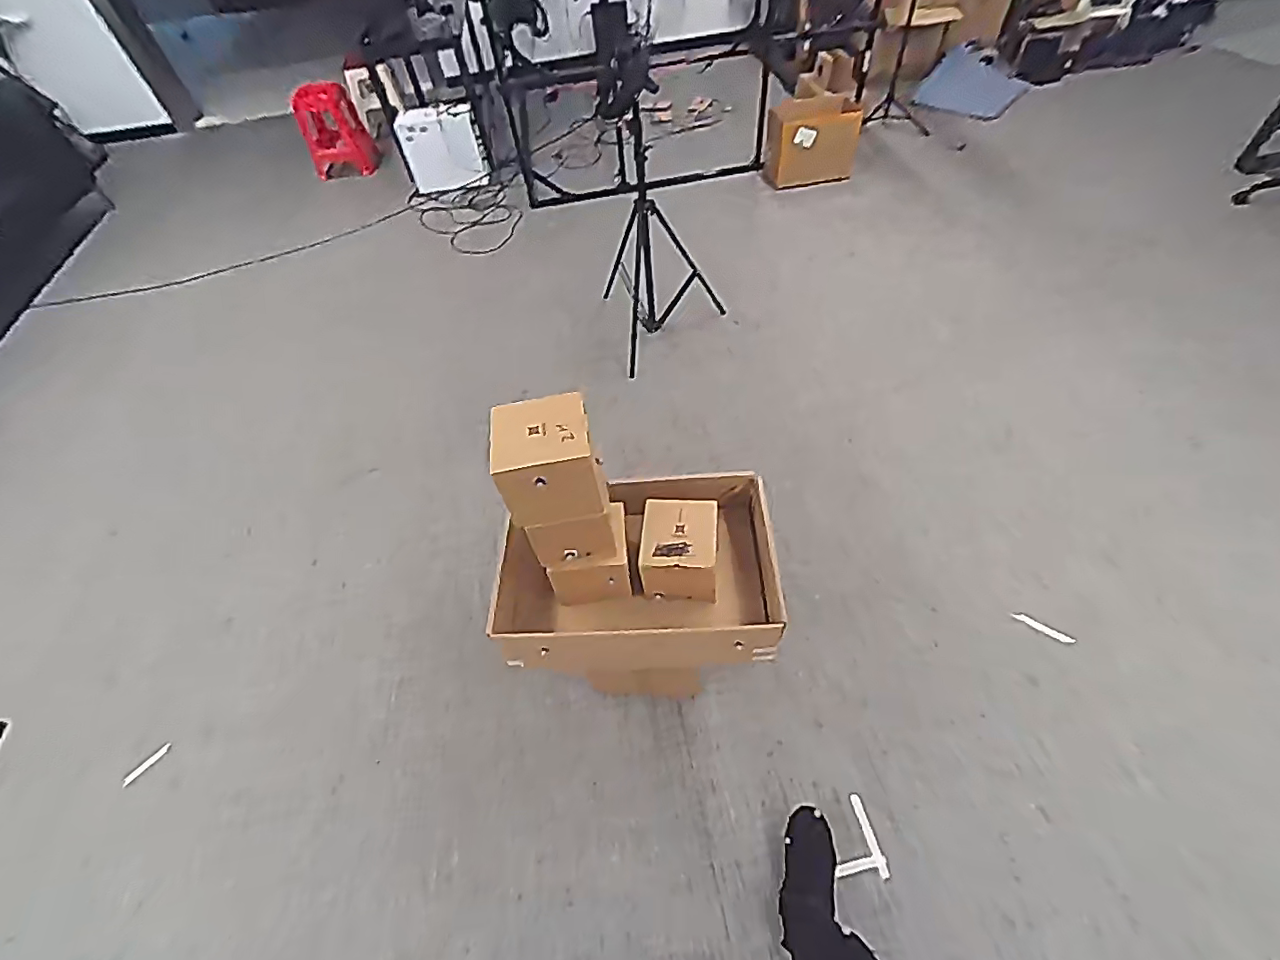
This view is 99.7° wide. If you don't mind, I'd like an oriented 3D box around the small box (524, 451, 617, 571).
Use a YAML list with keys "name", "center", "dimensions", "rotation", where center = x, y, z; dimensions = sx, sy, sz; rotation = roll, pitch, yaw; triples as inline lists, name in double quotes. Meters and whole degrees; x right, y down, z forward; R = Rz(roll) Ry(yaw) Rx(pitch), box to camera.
- name: "small box"
  center: [-0.147, 0.067, 1.147]
  dimensions: [0.168, 0.176, 0.179]
  rotation: [-10, 52, -2]

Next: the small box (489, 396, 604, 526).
- name: "small box"
  center: [-0.172, -0.030, 1.018]
  dimensions: [0.179, 0.176, 0.168]
  rotation: [-10, 52, -1]
